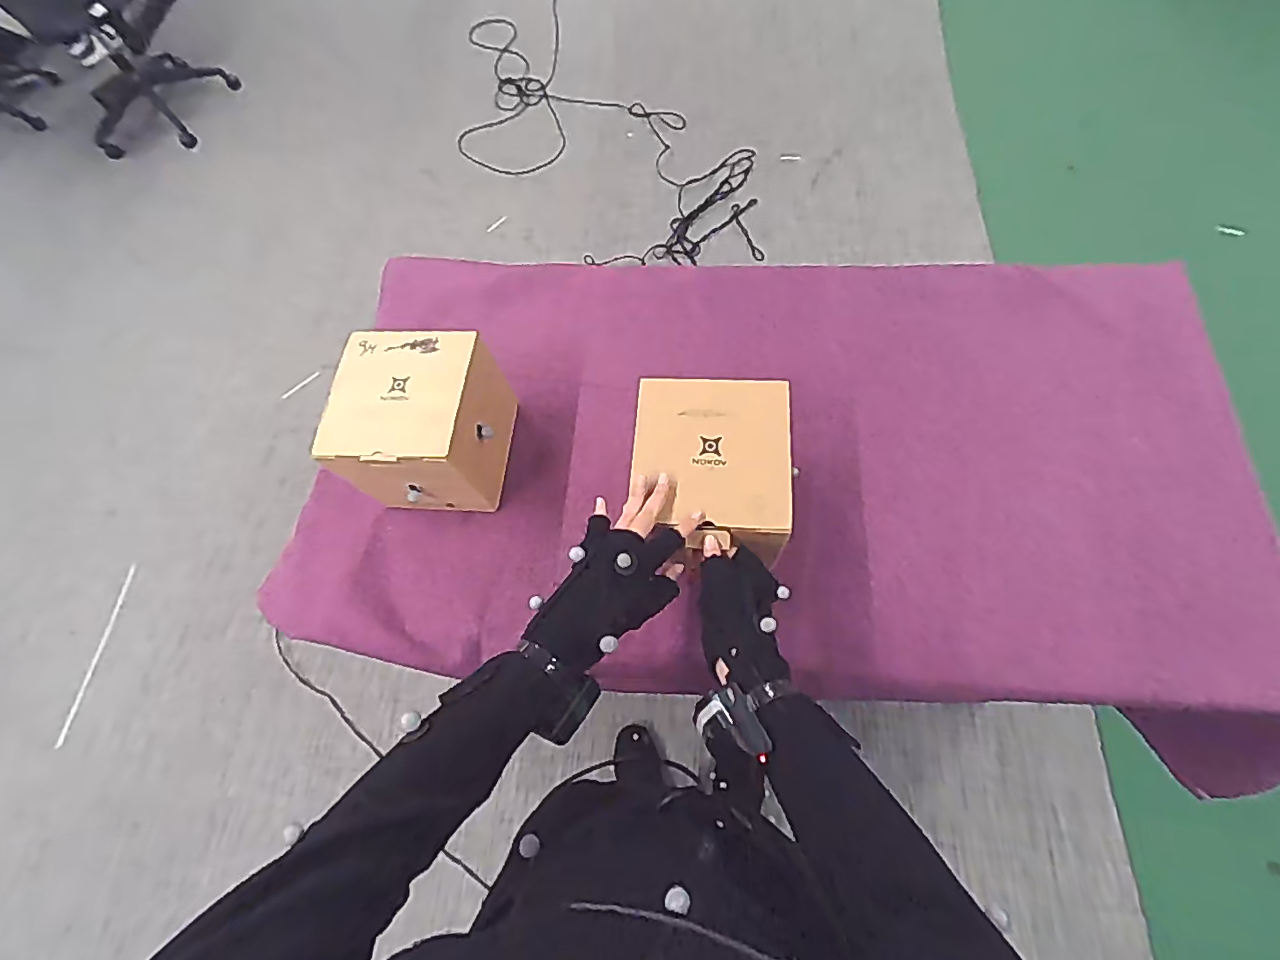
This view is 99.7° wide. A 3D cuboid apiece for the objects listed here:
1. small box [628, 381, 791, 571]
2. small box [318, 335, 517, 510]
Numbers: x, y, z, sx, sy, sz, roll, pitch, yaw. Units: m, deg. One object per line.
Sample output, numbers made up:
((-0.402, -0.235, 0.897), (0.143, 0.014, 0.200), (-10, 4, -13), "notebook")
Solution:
((0.084, 0.003, 0.639), (0.168, 0.176, 0.179), (3, 66, 7), "small box")
((-0.272, -0.067, 0.707), (0.168, 0.176, 0.179), (2, 67, 6), "small box")
